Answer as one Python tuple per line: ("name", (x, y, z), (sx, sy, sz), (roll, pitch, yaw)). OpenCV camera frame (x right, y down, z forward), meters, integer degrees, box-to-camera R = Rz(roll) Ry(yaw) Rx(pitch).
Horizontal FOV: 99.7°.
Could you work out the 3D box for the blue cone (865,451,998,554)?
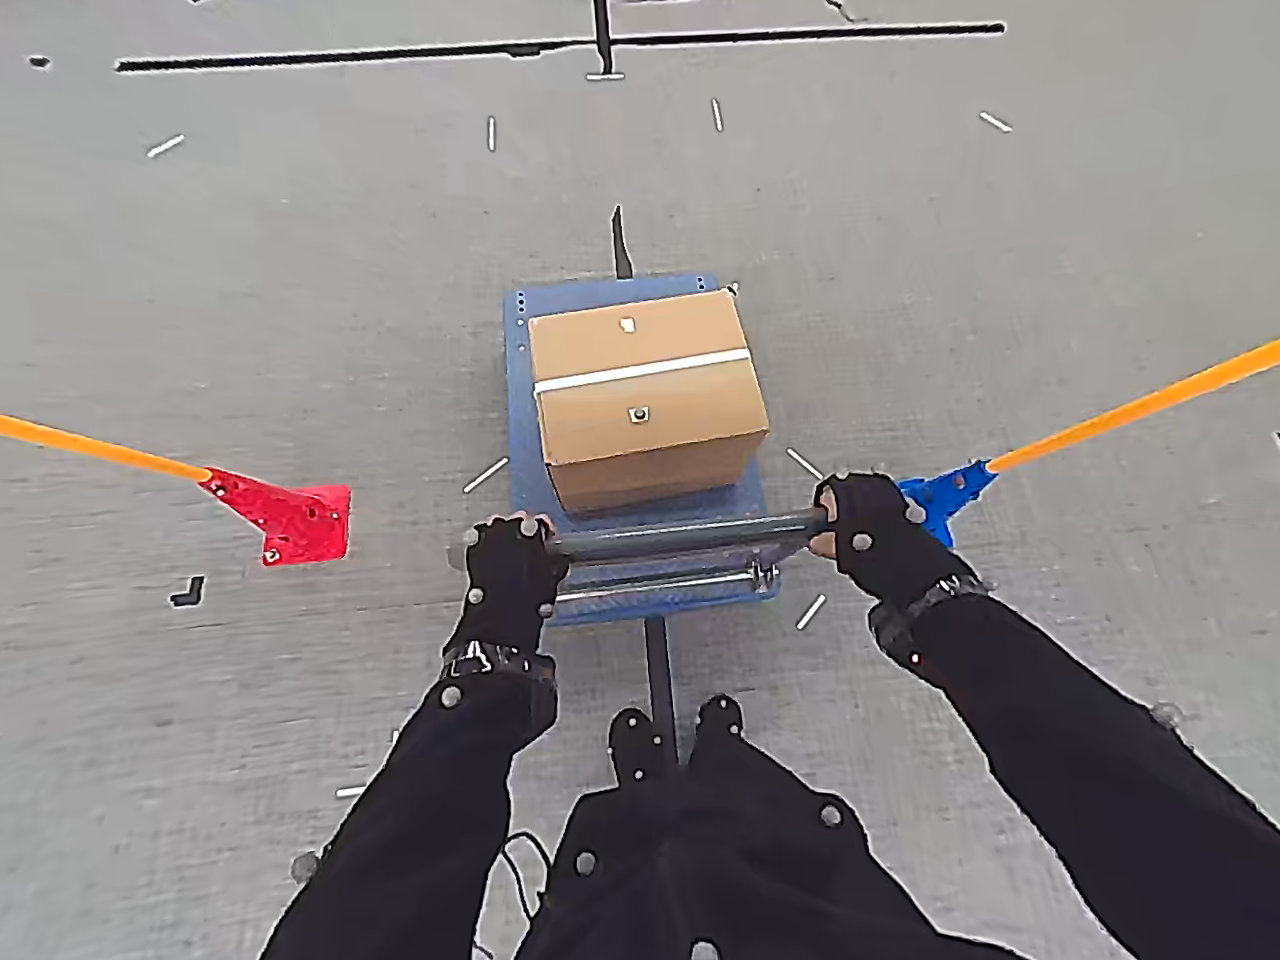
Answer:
("blue cone", (0.708, 0.035, 1.265), (0.193, 0.380, 0.192), (-8, 69, -5))
